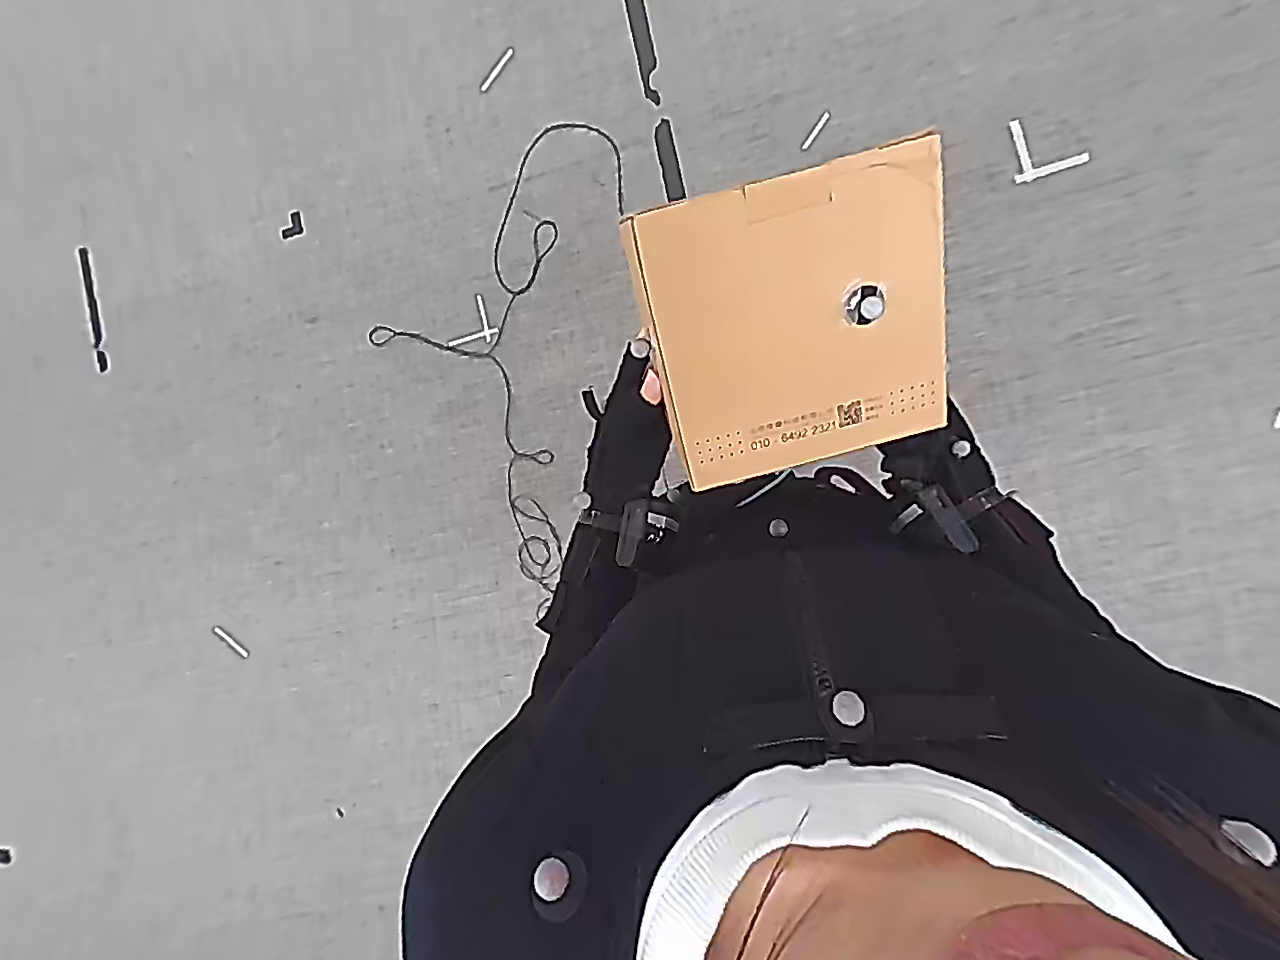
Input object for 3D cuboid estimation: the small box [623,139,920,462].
[{"bbox_3d":[0.089,-0.125,0.404,0.168,0.179,0.176,-14,114,2],"label":"small box"}]
